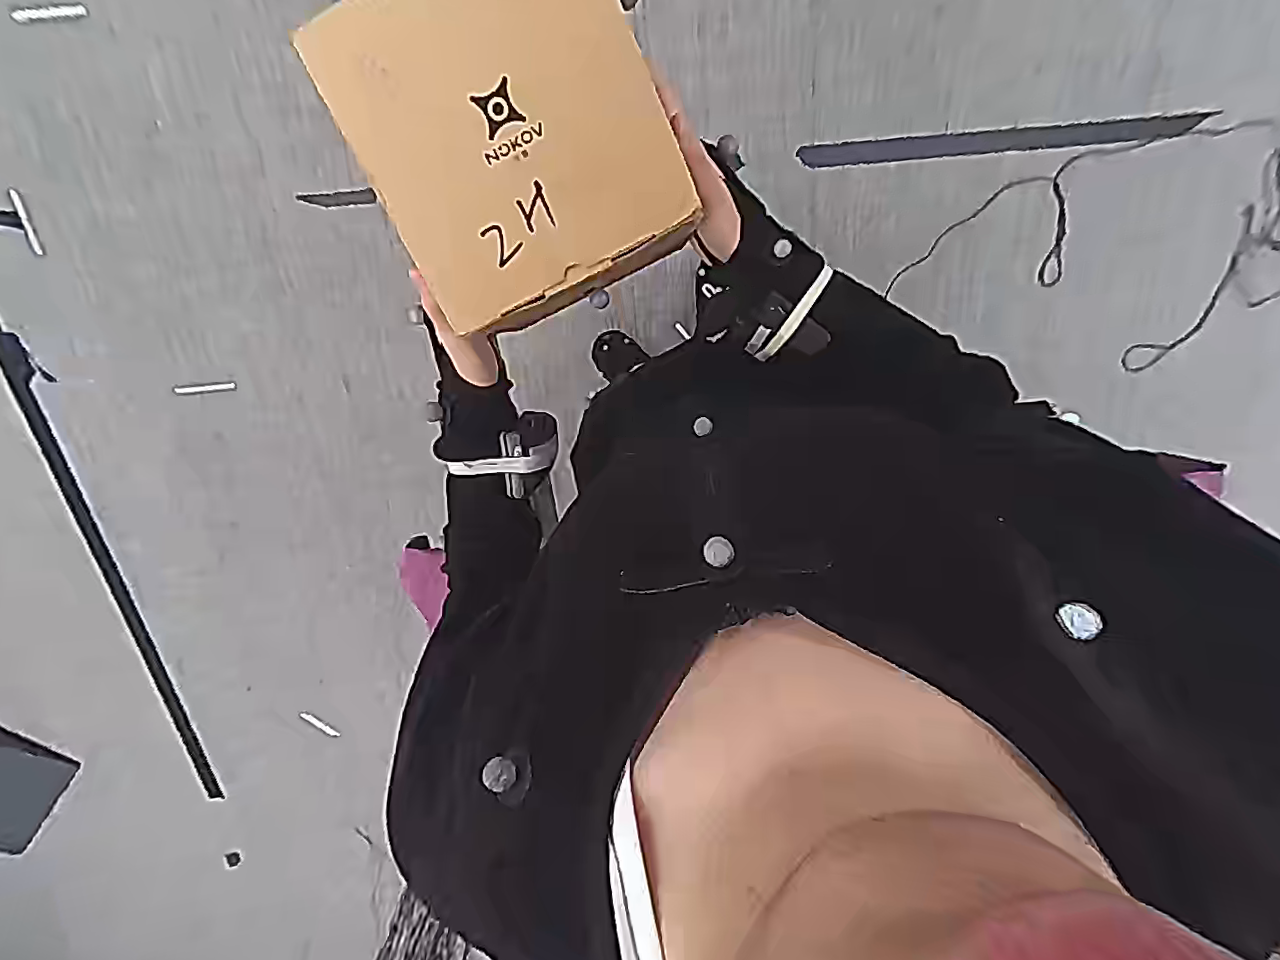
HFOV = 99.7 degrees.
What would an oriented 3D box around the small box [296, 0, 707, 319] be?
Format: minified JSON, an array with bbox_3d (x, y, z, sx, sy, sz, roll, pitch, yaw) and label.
[{"bbox_3d":[-0.071,-0.224,0.367,0.168,0.176,0.179,-24,106,8],"label":"small box"}]
